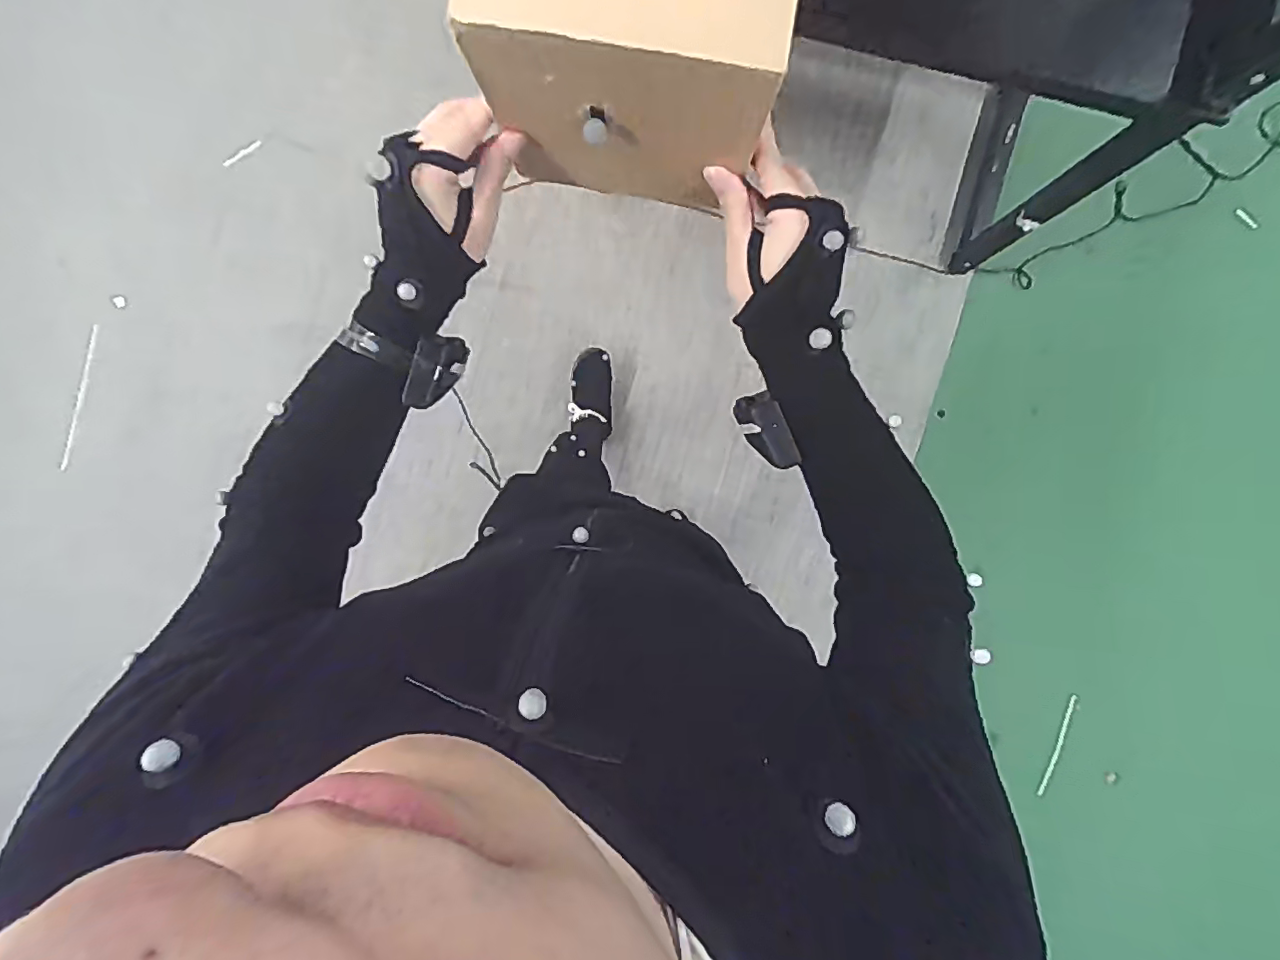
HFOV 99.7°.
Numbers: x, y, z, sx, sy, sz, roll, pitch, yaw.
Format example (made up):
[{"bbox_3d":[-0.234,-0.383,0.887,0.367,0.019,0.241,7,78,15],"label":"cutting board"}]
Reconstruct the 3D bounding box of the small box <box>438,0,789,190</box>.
[{"bbox_3d":[-0.002,-0.306,0.335,0.179,0.176,0.168,9,95,1],"label":"small box"}]
